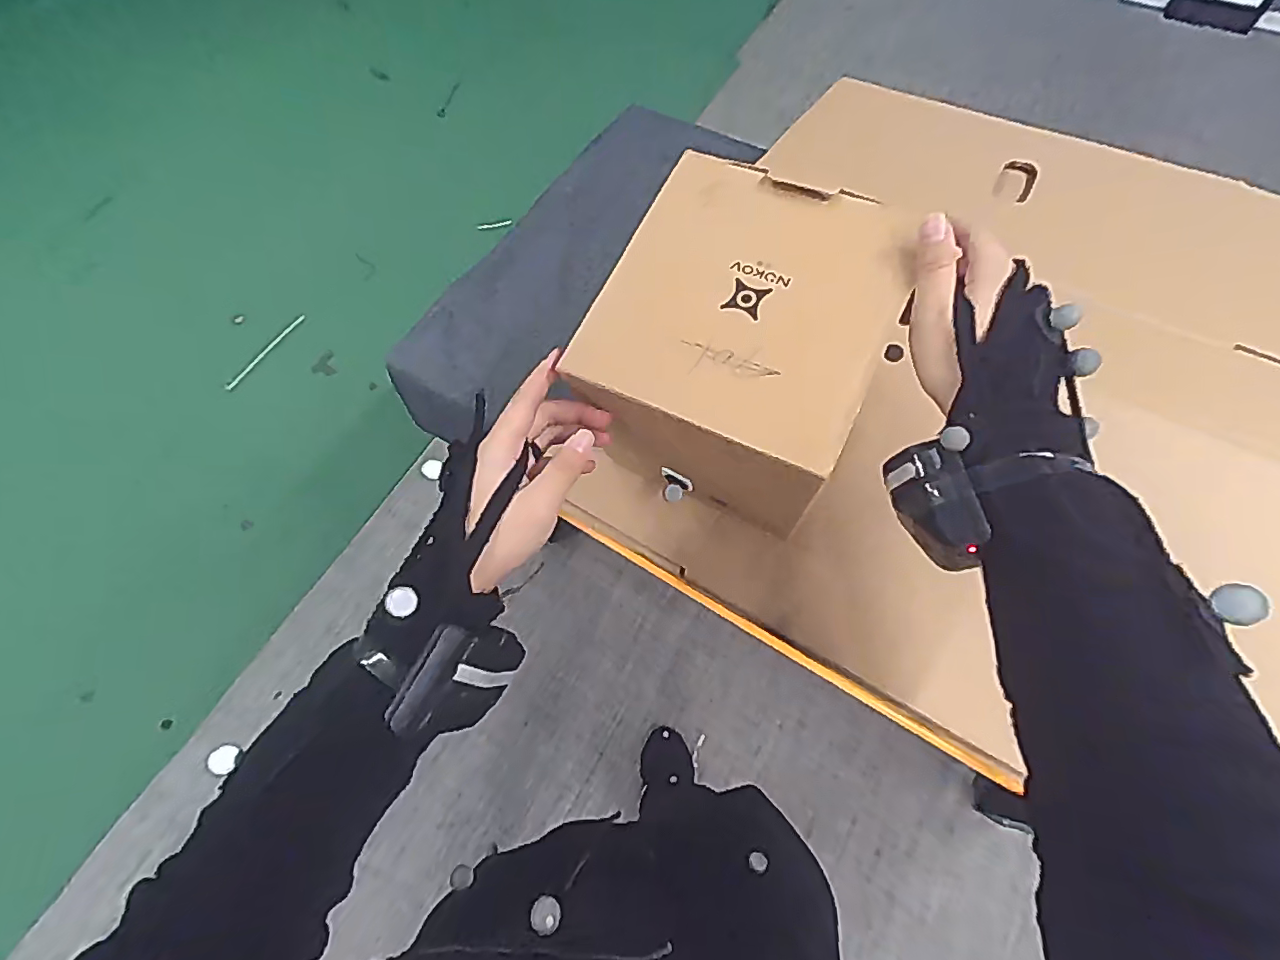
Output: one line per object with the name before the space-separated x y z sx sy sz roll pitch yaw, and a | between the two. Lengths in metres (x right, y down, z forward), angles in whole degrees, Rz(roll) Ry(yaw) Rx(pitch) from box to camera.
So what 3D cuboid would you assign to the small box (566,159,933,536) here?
small box | 0.074 -0.081 0.395 0.168 0.176 0.179 25 78 15
